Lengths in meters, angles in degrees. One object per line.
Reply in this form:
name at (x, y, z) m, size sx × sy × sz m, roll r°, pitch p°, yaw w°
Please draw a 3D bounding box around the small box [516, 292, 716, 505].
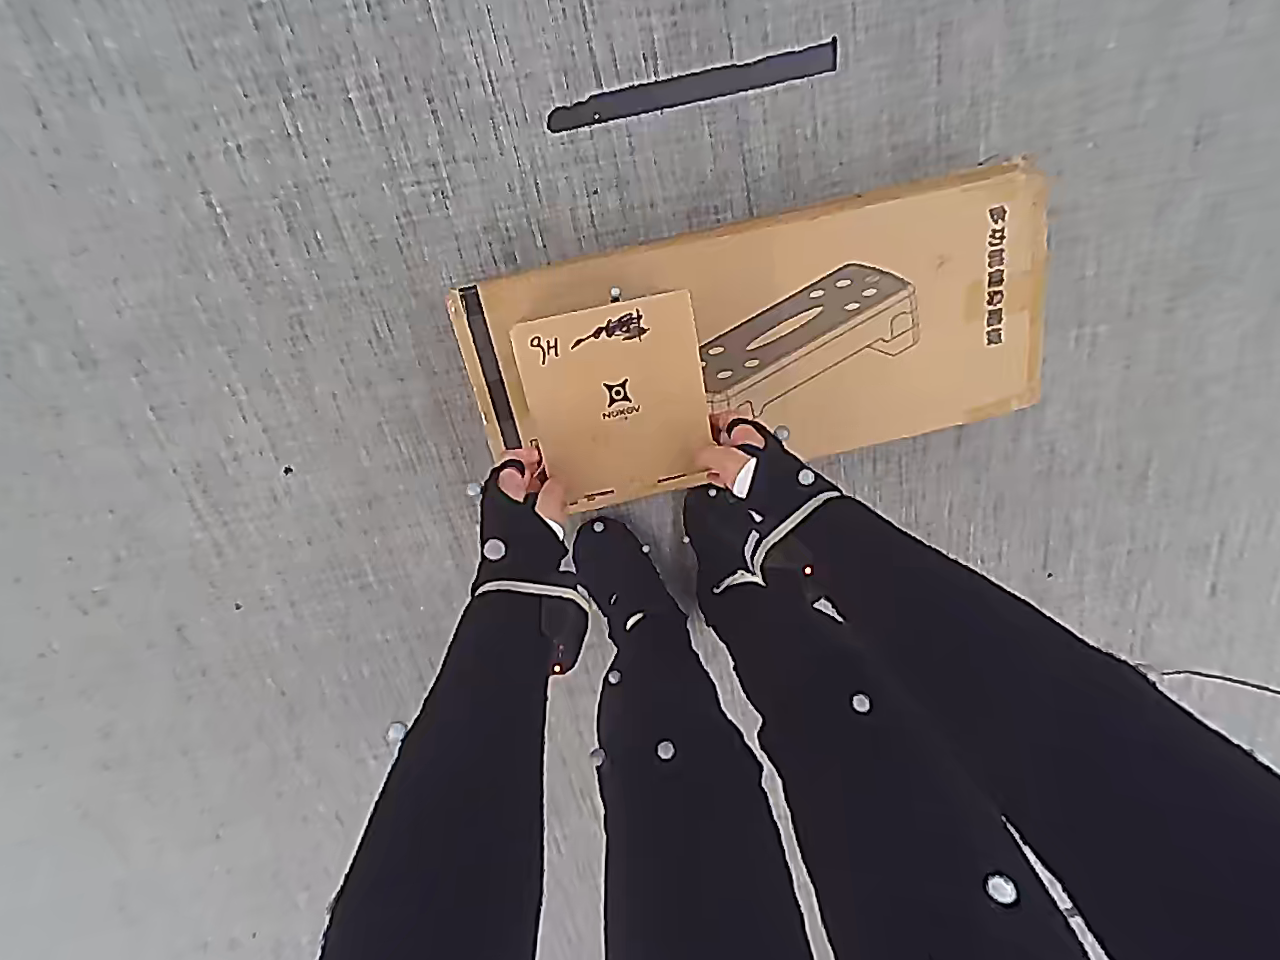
small box at (-0.024, -0.096, 0.579) m, size 0.168 × 0.176 × 0.179 m, roll -12°, pitch 111°, yaw -3°
